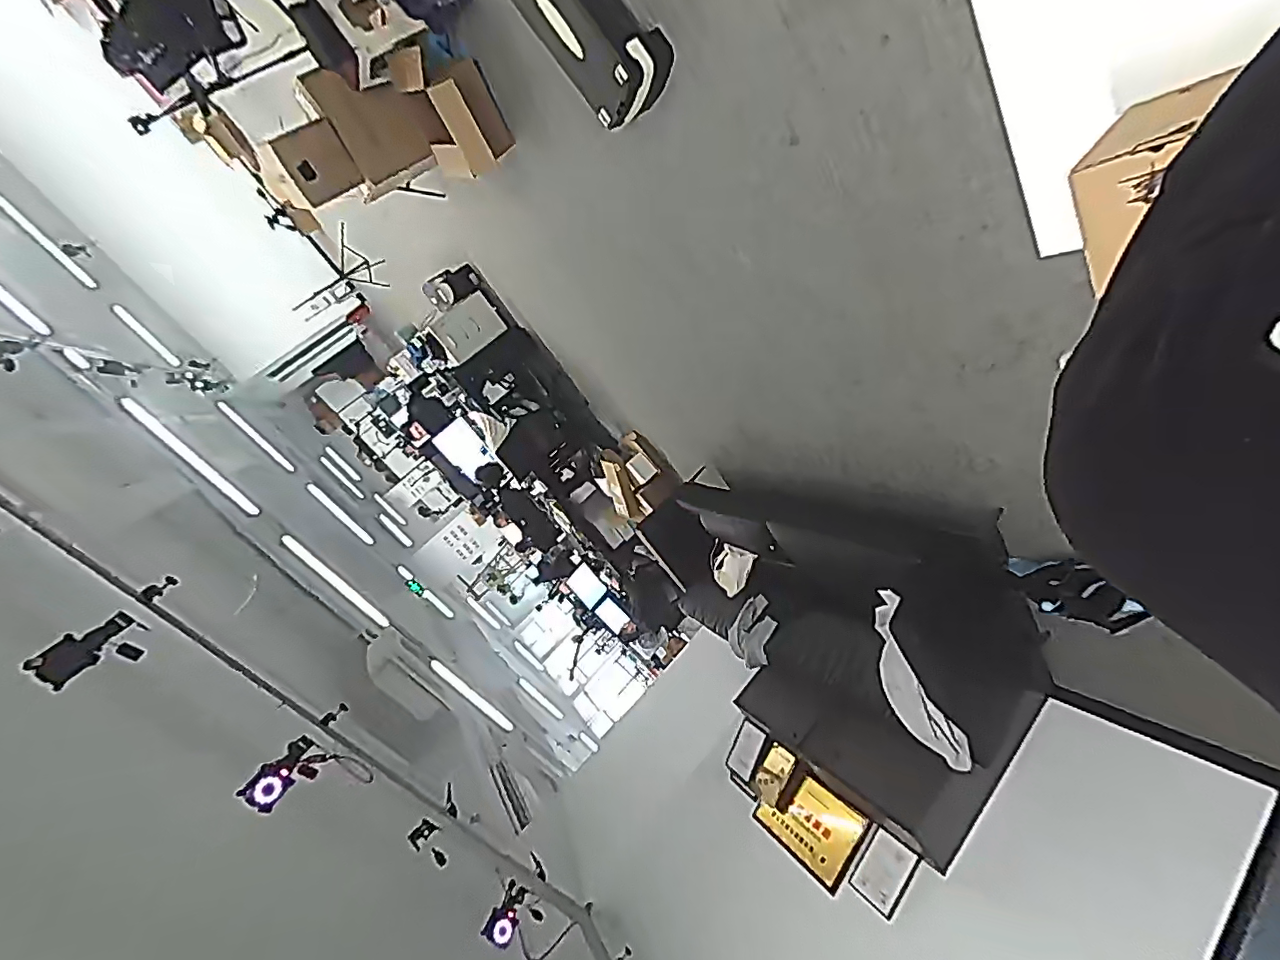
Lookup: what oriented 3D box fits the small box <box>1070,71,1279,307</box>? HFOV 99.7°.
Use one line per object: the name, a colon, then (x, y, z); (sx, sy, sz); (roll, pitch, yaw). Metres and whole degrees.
small box: (0.653, -0.335, 0.635); (0.179, 0.176, 0.168); (53, 163, -24)
